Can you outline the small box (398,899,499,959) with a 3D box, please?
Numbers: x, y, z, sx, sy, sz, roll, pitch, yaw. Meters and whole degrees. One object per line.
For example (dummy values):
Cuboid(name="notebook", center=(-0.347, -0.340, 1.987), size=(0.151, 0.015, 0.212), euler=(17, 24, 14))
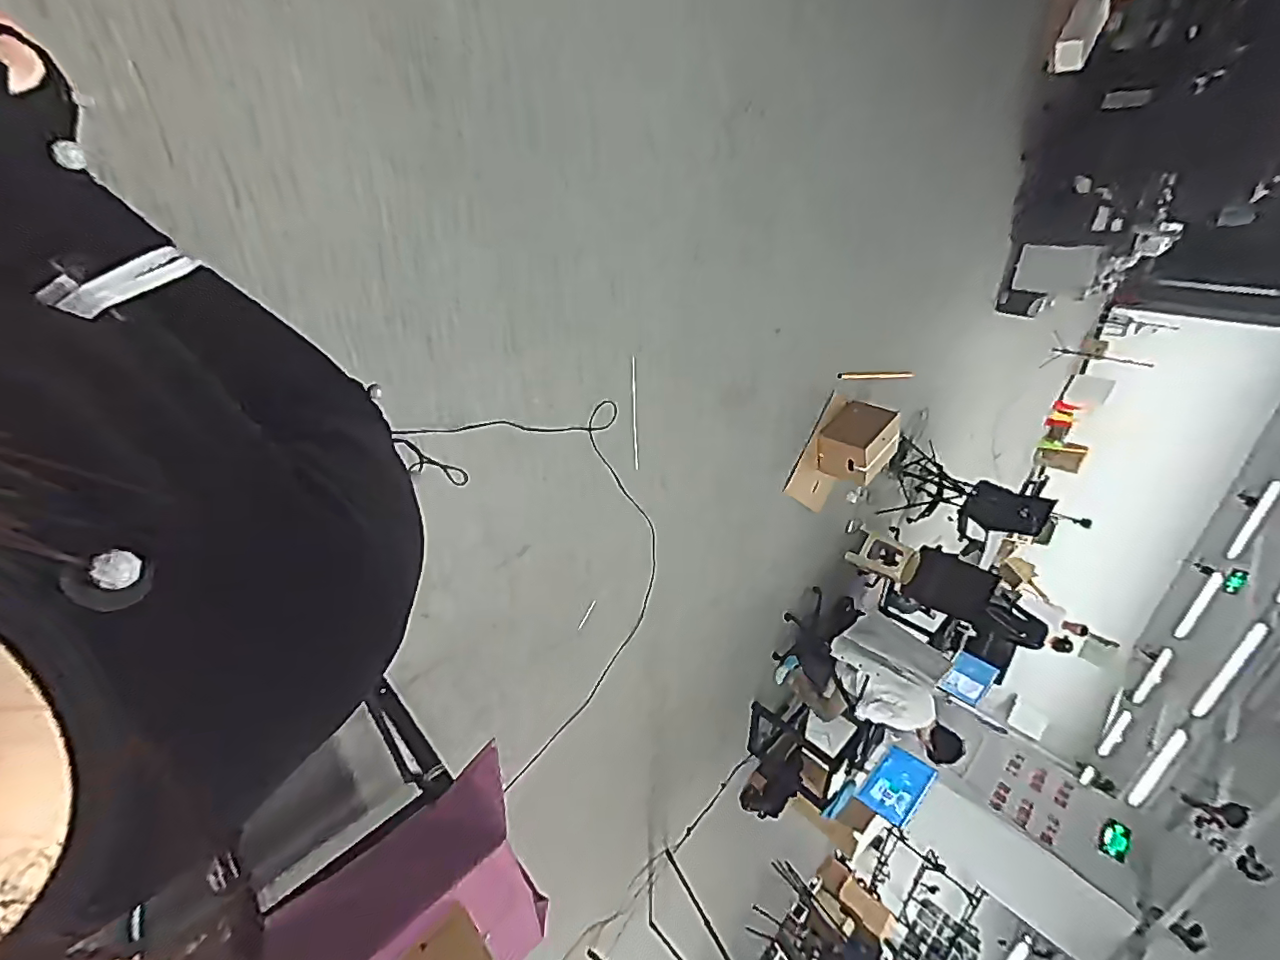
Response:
Cuboid(name="small box", center=(-0.422, 1.113, 1.231), size=(0.168, 0.176, 0.179), euler=(-29, 131, -33))
